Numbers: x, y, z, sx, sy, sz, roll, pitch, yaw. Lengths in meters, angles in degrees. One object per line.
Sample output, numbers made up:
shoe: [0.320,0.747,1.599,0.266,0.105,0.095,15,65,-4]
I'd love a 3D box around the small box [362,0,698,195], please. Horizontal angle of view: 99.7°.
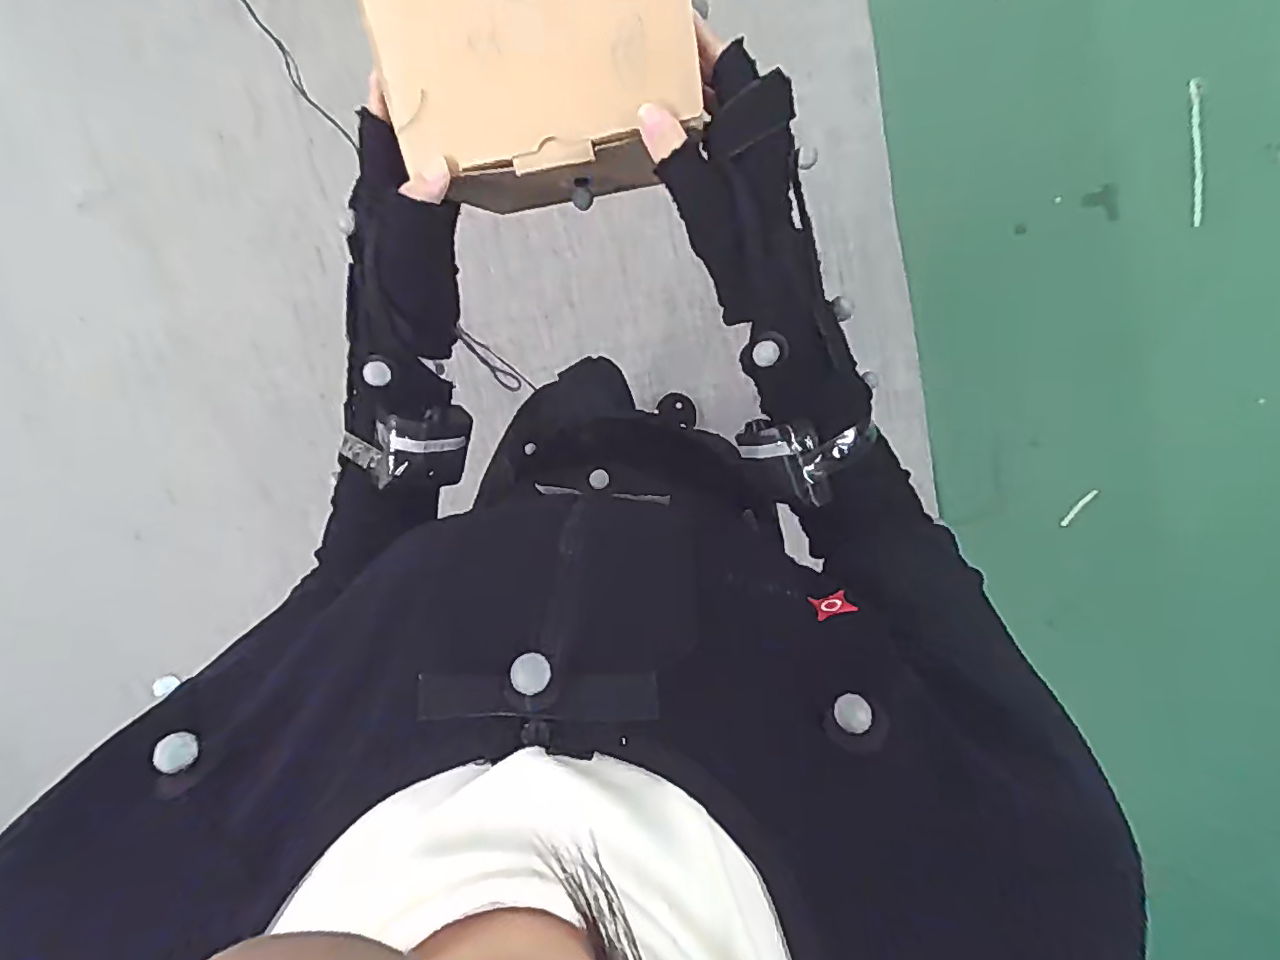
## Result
small box: [-0.054,-0.287,0.333,0.168,0.176,0.179,-7,111,7]

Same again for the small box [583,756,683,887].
small box: [-0.011,0.735,1.181,0.179,0.176,0.168,-14,97,7]
